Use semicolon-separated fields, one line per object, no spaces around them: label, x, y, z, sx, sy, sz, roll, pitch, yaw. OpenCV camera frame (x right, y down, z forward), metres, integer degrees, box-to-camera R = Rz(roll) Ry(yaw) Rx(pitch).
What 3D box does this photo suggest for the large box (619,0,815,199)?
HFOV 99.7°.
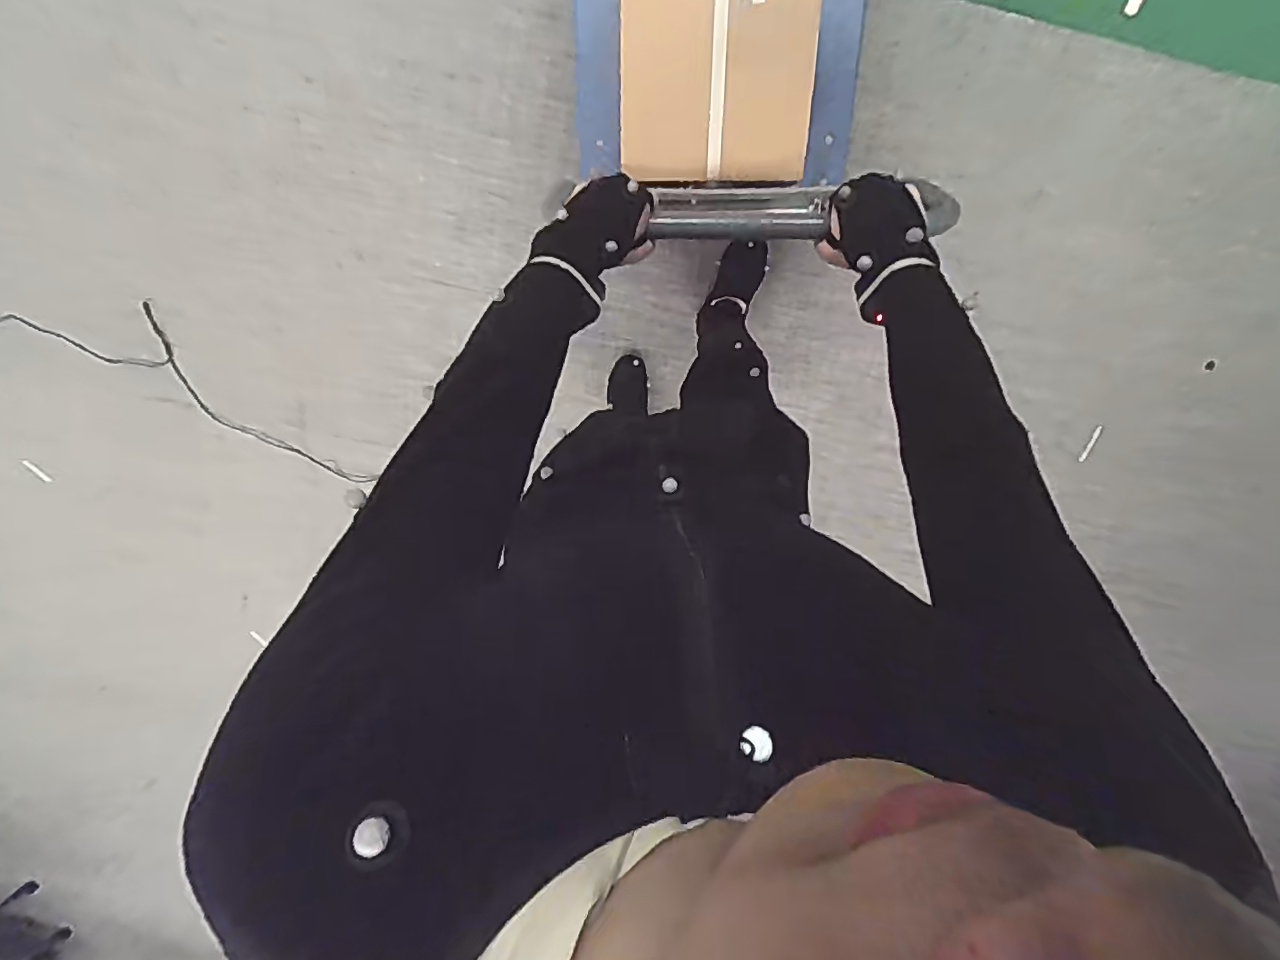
large box;0.131;-0.767;1.006;0.320;0.320;0.408;1;111;3
